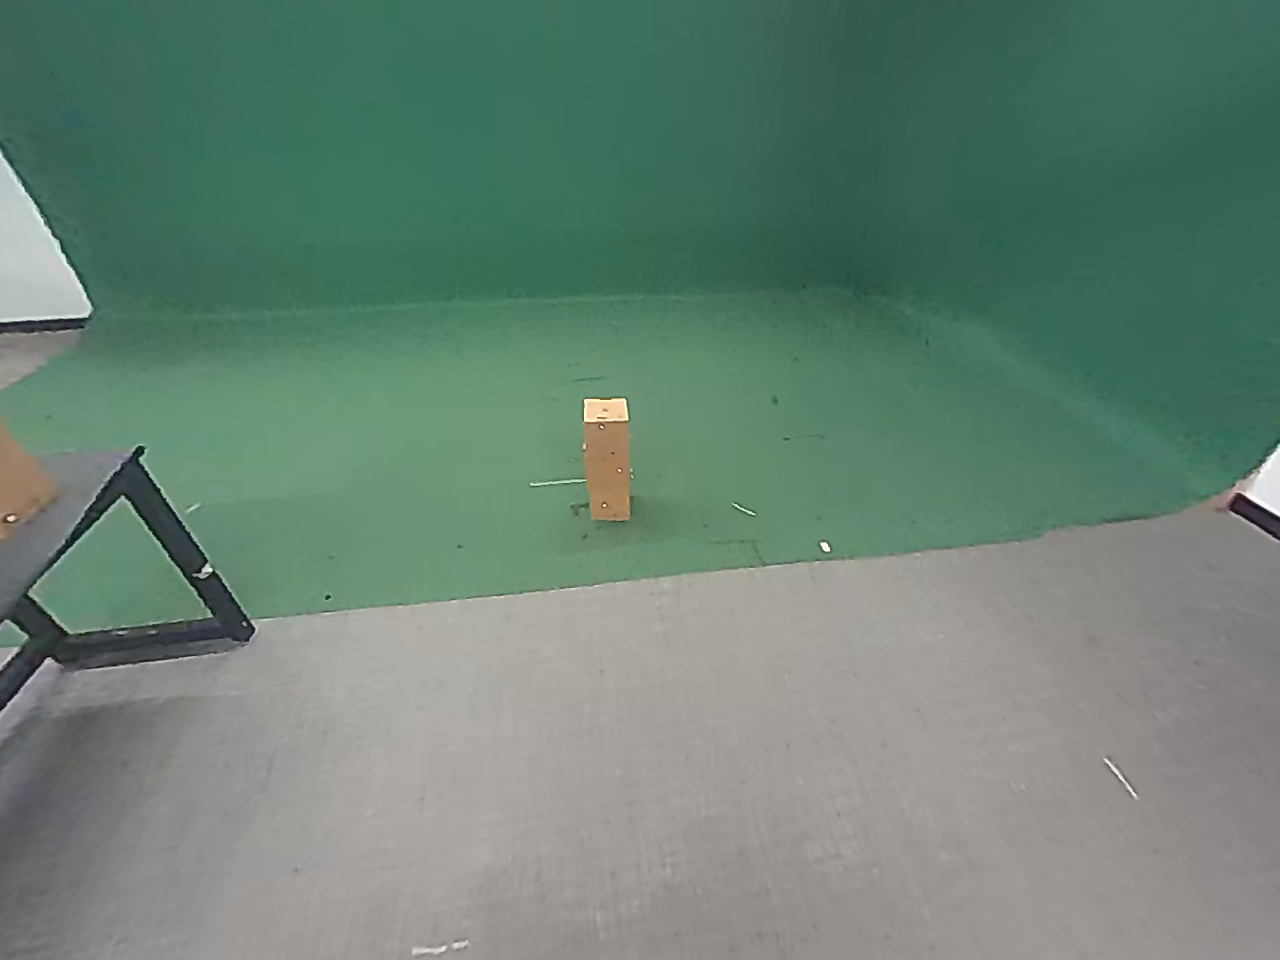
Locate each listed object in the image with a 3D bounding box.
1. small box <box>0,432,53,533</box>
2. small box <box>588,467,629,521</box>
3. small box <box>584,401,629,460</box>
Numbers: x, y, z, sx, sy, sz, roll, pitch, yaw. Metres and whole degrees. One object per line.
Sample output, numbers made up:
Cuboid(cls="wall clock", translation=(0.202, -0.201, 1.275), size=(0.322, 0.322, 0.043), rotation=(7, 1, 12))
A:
Cuboid(cls="small box", translation=(-1.412, 0.019, 1.122), size=(0.179, 0.176, 0.168), rotation=(-7, 38, -5))
Cuboid(cls="small box", translation=(-0.130, 0.061, 2.304), size=(0.168, 0.176, 0.179), rotation=(0, 37, -1))
Cuboid(cls="small box", translation=(-0.132, -0.195, 2.098), size=(0.168, 0.176, 0.179), rotation=(-1, 36, -5))
